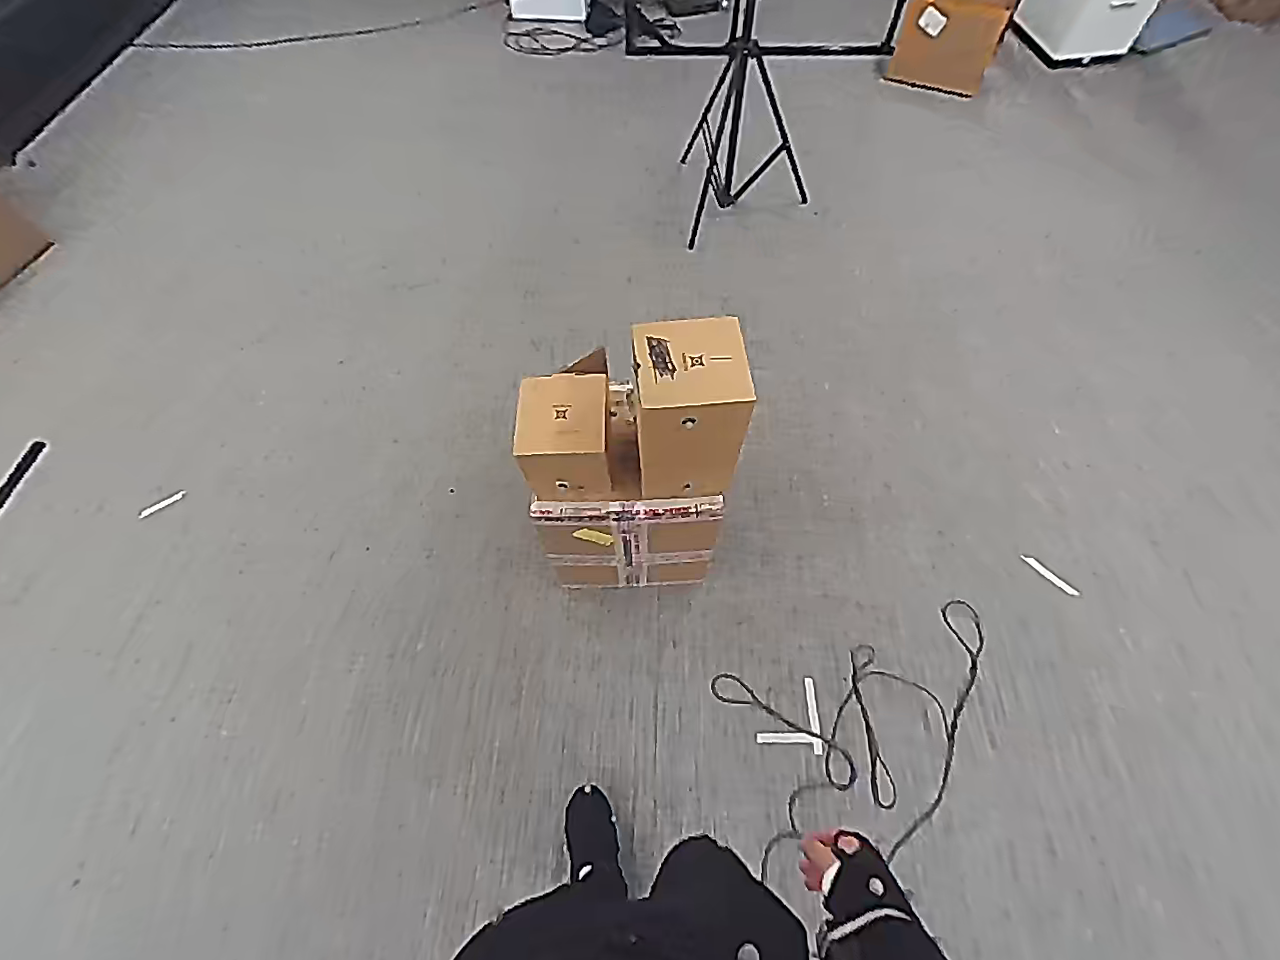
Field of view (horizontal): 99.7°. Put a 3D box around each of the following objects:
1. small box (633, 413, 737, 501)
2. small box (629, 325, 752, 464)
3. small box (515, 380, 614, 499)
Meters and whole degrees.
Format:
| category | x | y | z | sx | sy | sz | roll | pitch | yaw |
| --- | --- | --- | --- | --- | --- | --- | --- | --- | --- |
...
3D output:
| category | x | y | z | sx | sy | sz | roll | pitch | yaw |
| --- | --- | --- | --- | --- | --- | --- | --- | --- | --- |
| small box | 0.080 | -0.069 | 1.065 | 0.179 | 0.176 | 0.168 | -5 | 64 | -3 |
| small box | 0.077 | -0.137 | 0.914 | 0.179 | 0.176 | 0.168 | -5 | 64 | -2 |
| small box | -0.142 | -0.077 | 1.073 | 0.168 | 0.176 | 0.179 | -3 | 64 | 2 |
